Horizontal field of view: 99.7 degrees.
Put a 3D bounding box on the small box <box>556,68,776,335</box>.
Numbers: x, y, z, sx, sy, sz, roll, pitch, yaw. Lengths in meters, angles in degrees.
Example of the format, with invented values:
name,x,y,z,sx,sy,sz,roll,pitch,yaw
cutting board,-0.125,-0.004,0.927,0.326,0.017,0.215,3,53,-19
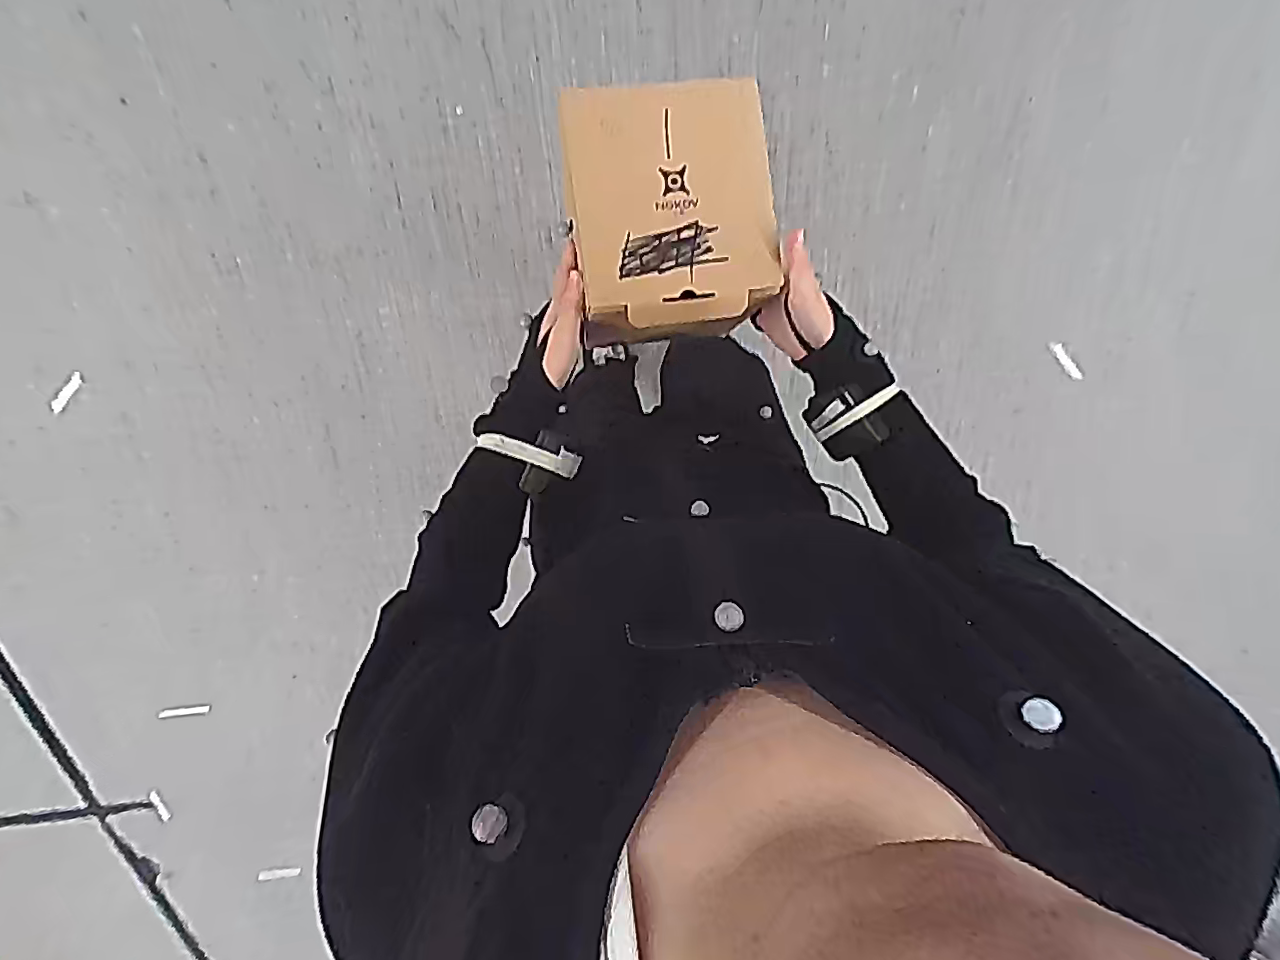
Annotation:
name,x,y,z,sx,sy,sz,roll,pitch,yaw
small box,0.016,-0.244,0.518,0.168,0.176,0.179,-8,93,-6
